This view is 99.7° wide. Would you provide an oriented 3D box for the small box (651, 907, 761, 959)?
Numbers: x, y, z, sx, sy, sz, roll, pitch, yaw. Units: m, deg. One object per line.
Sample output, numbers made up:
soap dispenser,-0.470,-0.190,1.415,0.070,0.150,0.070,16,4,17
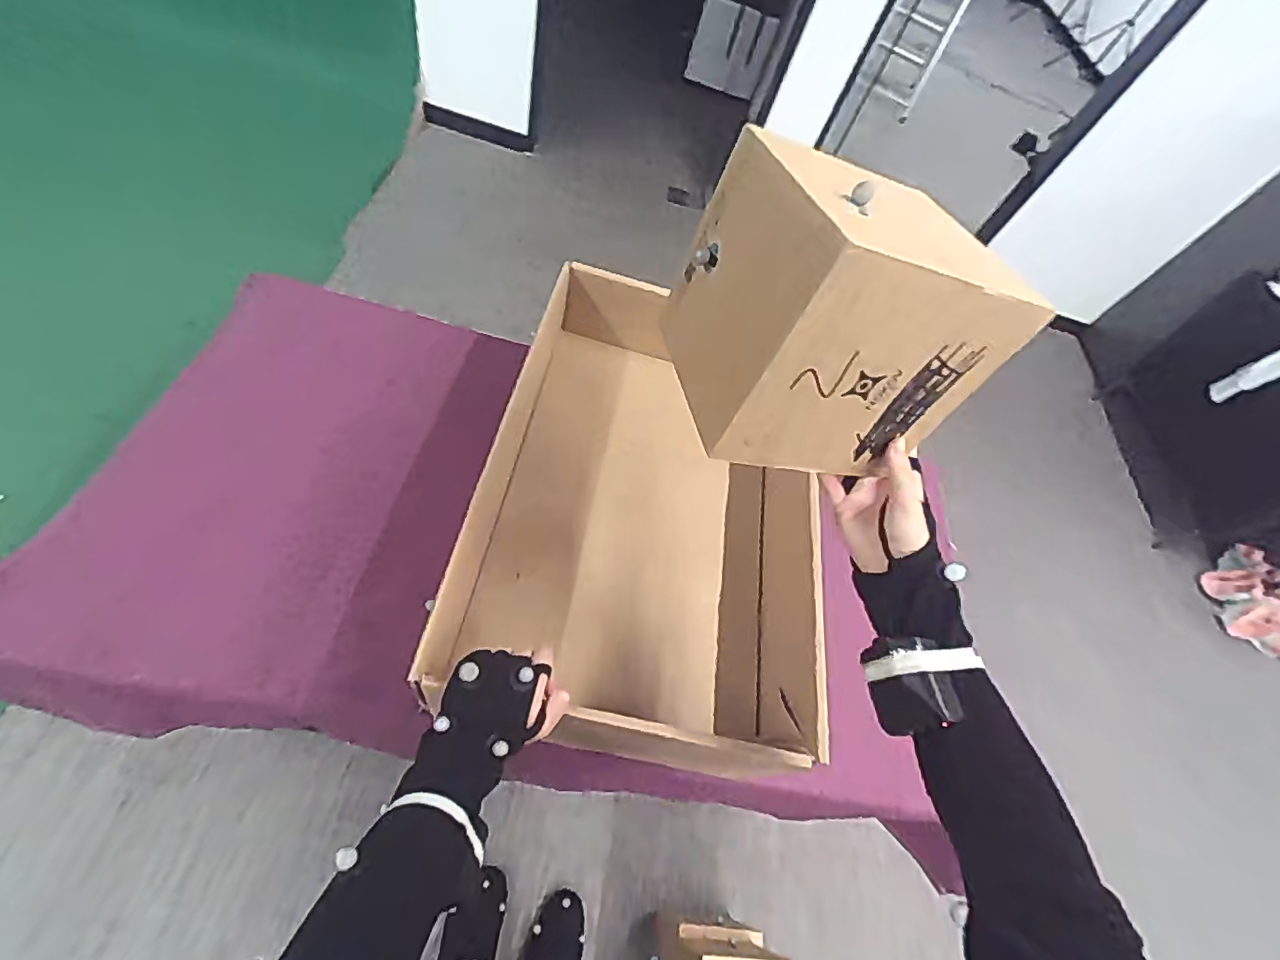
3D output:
small box,0.127,0.975,1.080,0.179,0.176,0.168,12,57,-8
